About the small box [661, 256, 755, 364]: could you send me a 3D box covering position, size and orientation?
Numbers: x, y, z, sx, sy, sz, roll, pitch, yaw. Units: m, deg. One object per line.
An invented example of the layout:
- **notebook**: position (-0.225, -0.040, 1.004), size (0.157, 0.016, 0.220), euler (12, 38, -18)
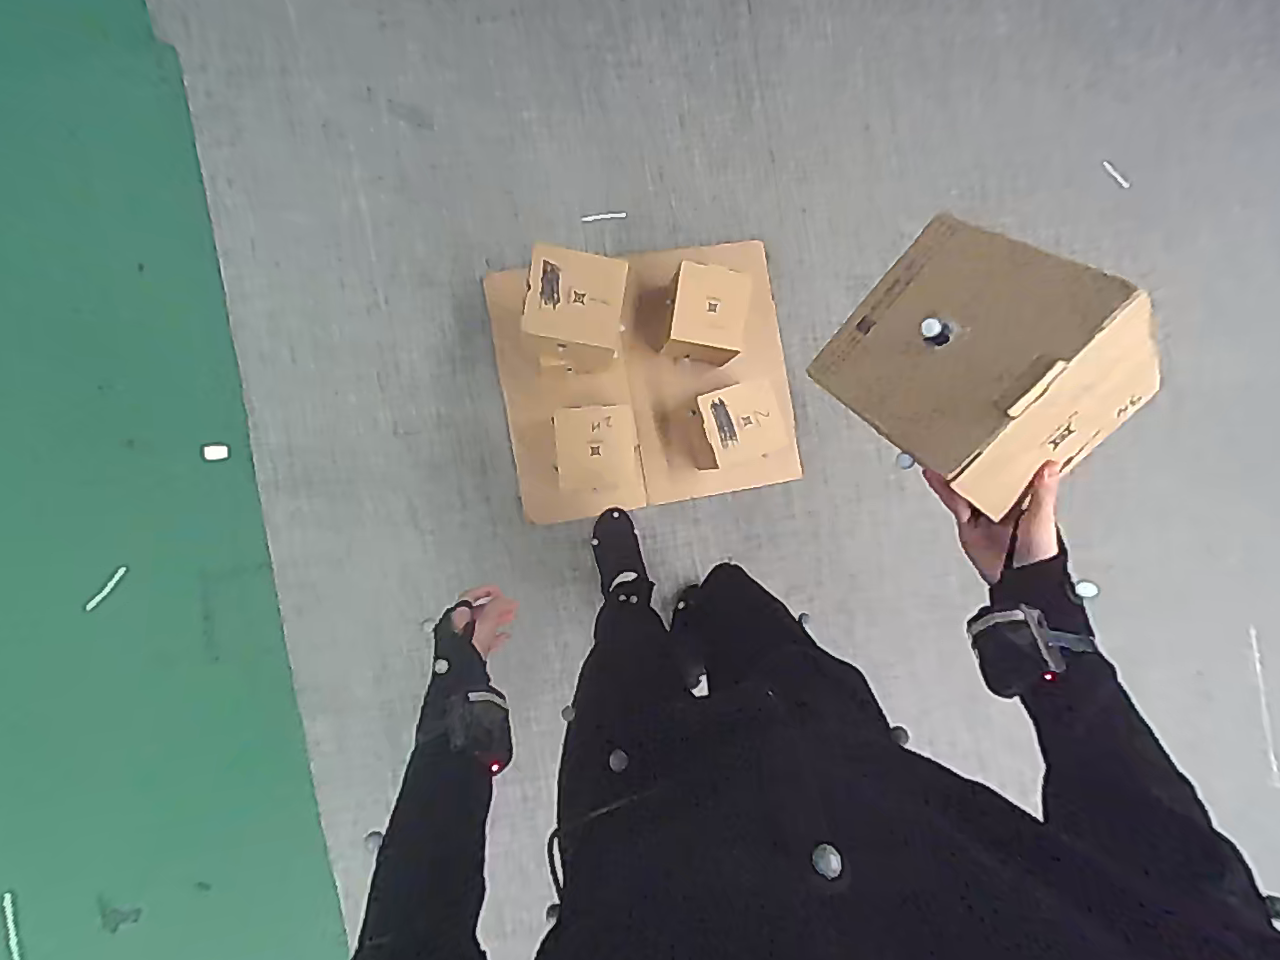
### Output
- **small box**: position (0.150, -0.384, 1.246), size (0.168, 0.176, 0.179), euler (9, 89, -7)

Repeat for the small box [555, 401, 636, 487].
- **small box**: position (-0.102, -0.078, 1.218), size (0.168, 0.176, 0.179), euler (-4, 90, -8)

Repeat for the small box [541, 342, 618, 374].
- **small box**: position (-0.144, -0.341, 1.214), size (0.168, 0.176, 0.179), euler (-8, 91, -7)

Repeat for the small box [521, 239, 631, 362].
- **small box**: position (-0.124, -0.337, 1.051), size (0.179, 0.176, 0.168), euler (9, 89, -8)

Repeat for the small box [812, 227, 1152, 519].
- **small box**: position (0.289, -0.096, 0.478), size (0.179, 0.176, 0.168), euler (21, 114, -41)
